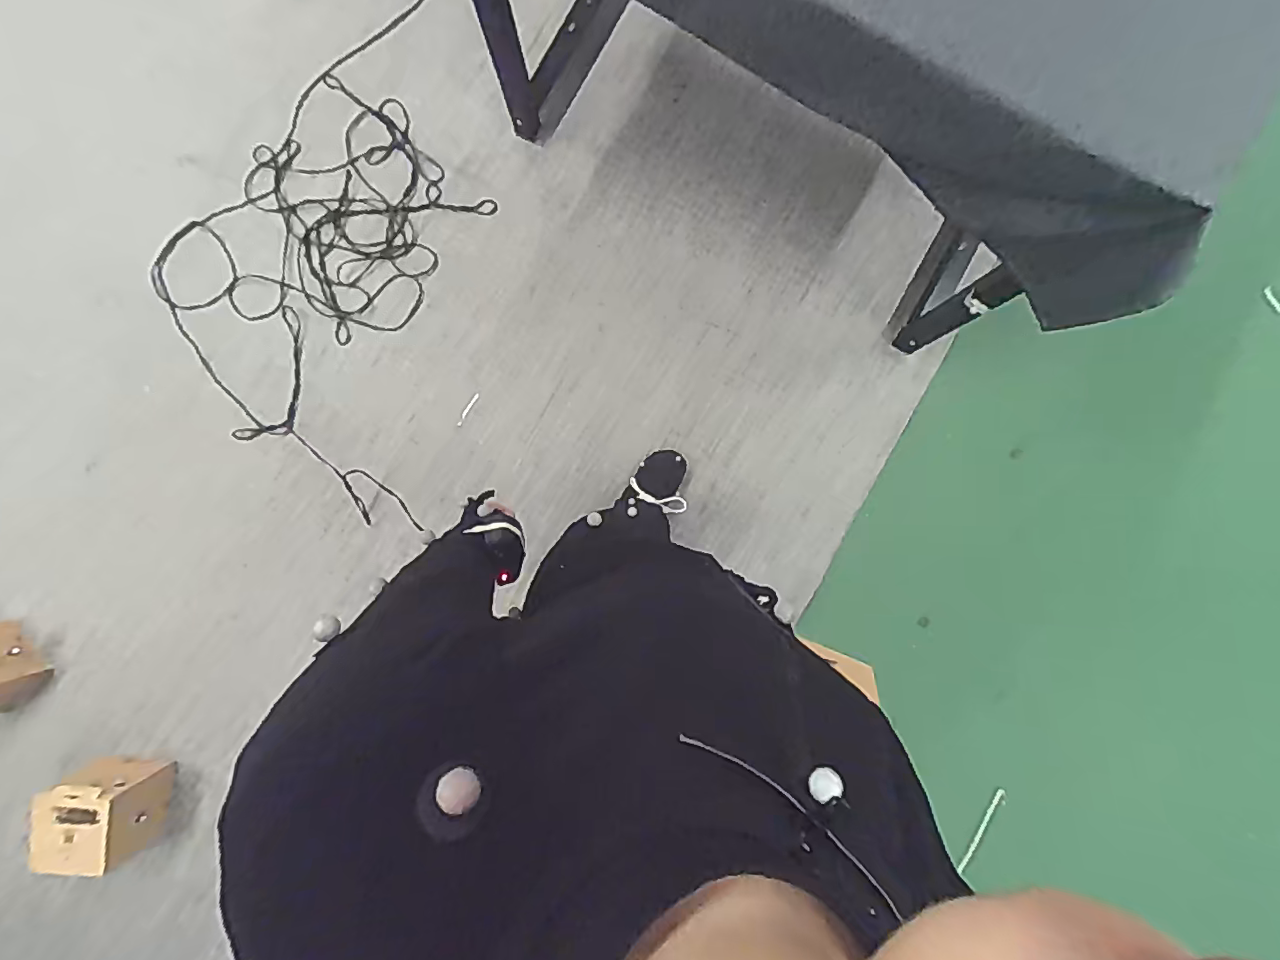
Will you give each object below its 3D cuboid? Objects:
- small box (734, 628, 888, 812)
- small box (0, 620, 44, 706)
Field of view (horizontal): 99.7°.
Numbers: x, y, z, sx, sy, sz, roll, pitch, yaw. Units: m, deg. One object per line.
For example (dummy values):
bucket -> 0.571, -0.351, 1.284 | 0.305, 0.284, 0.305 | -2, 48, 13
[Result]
small box -> 0.259, 0.378, 0.855 | 0.168, 0.179, 0.176 | 24, 118, 2
small box -> -1.577, 0.453, 1.254 | 0.179, 0.176, 0.168 | -40, 89, -2
